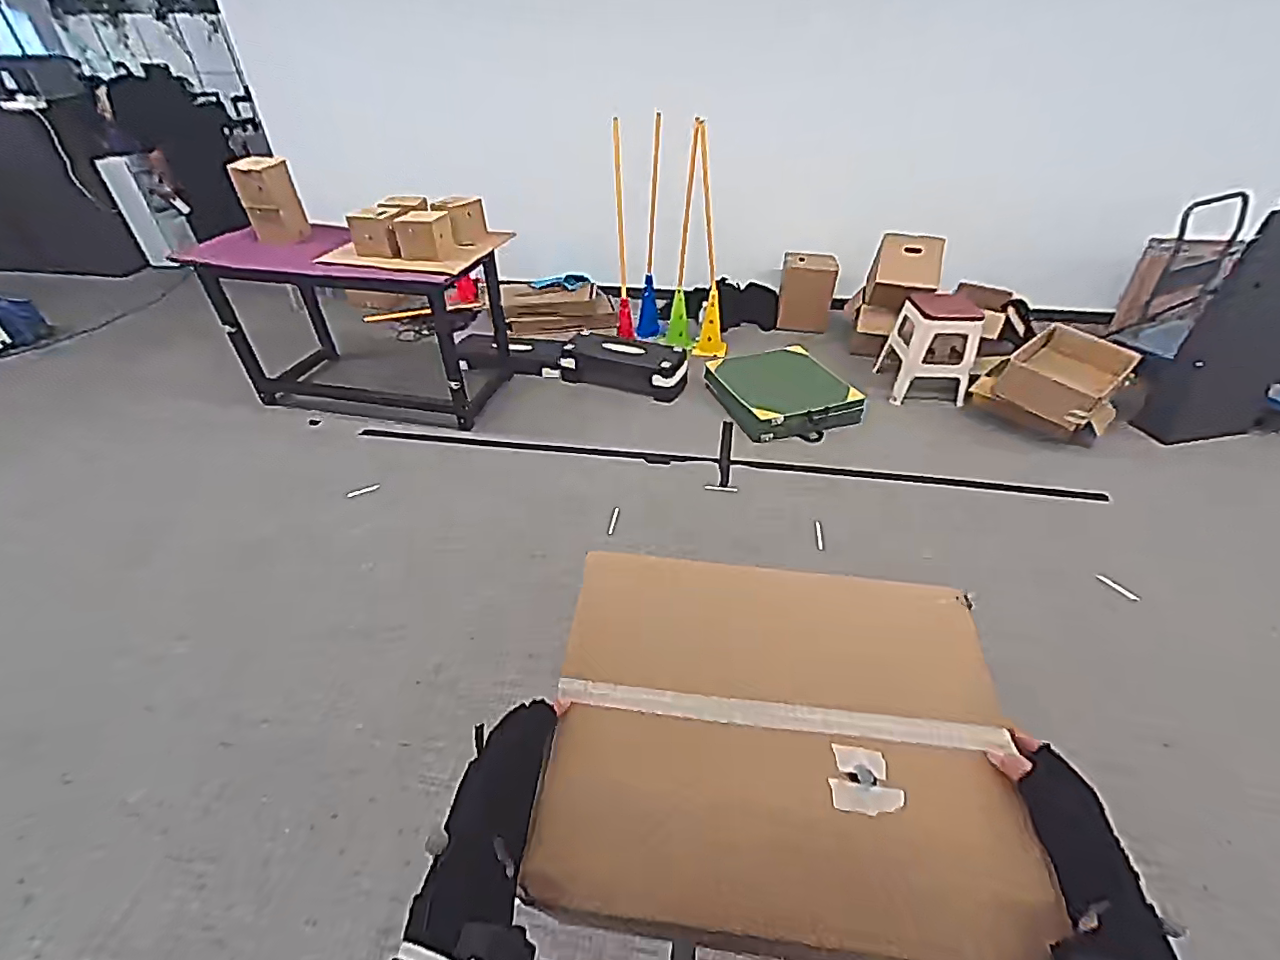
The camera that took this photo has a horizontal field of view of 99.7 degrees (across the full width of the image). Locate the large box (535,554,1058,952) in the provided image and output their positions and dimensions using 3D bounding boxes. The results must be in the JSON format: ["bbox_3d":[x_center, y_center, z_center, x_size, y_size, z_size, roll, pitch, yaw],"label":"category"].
[{"bbox_3d":[0.125,0.311,0.616,0.408,0.320,0.320,5,50,4],"label":"large box"}]
